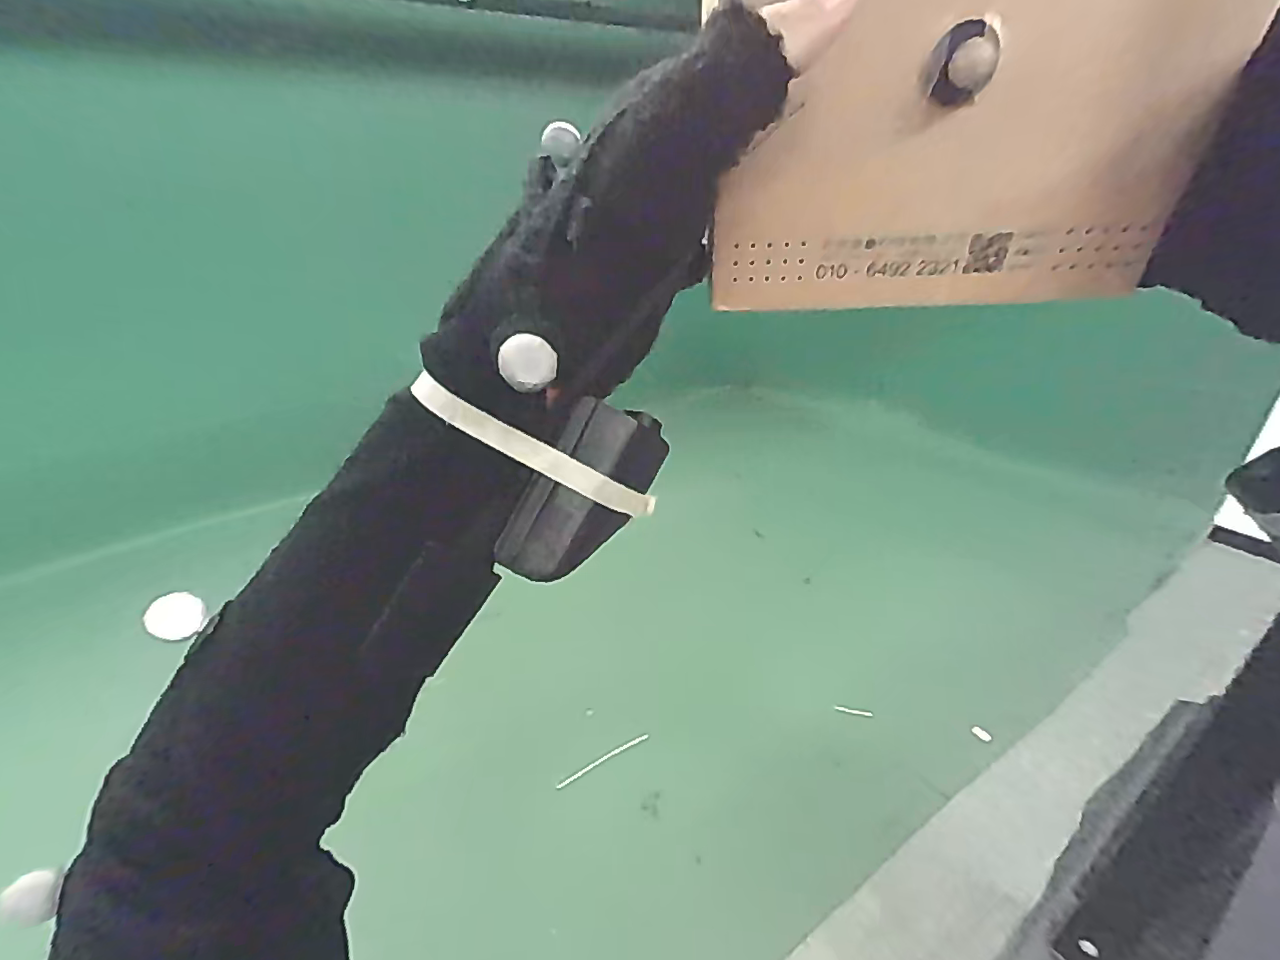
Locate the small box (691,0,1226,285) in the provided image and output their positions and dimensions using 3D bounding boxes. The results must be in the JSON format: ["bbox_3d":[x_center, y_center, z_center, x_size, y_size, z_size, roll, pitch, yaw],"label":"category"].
[{"bbox_3d":[0.107,-0.192,0.234,0.168,0.176,0.179,0,38,5],"label":"small box"}]
